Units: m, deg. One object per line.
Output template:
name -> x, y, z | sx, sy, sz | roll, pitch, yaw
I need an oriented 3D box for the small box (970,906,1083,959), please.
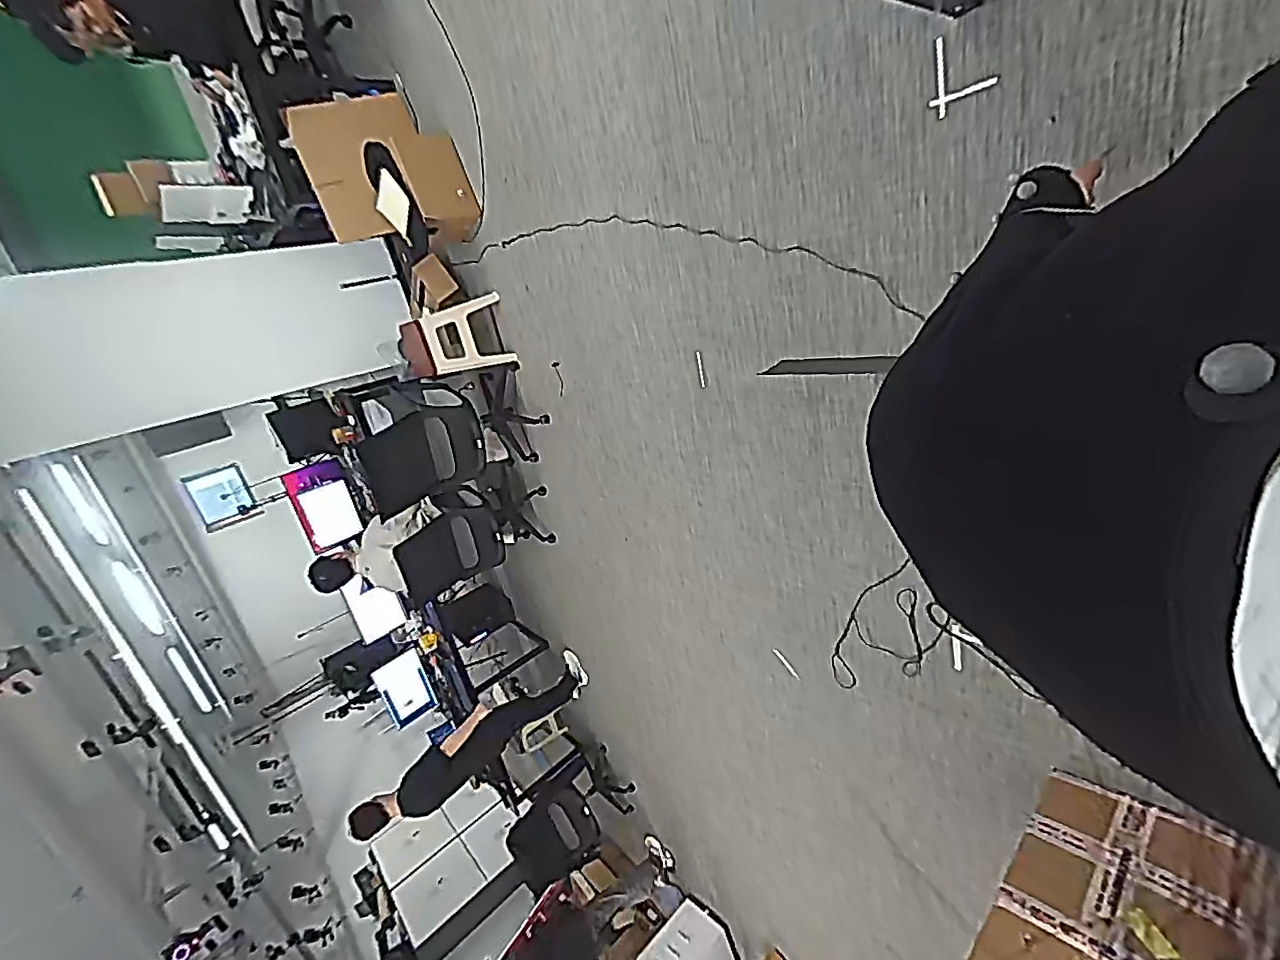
small box -> 0.915, 1.165, 1.274 | 0.179, 0.176, 0.168 | 0, 109, 53
